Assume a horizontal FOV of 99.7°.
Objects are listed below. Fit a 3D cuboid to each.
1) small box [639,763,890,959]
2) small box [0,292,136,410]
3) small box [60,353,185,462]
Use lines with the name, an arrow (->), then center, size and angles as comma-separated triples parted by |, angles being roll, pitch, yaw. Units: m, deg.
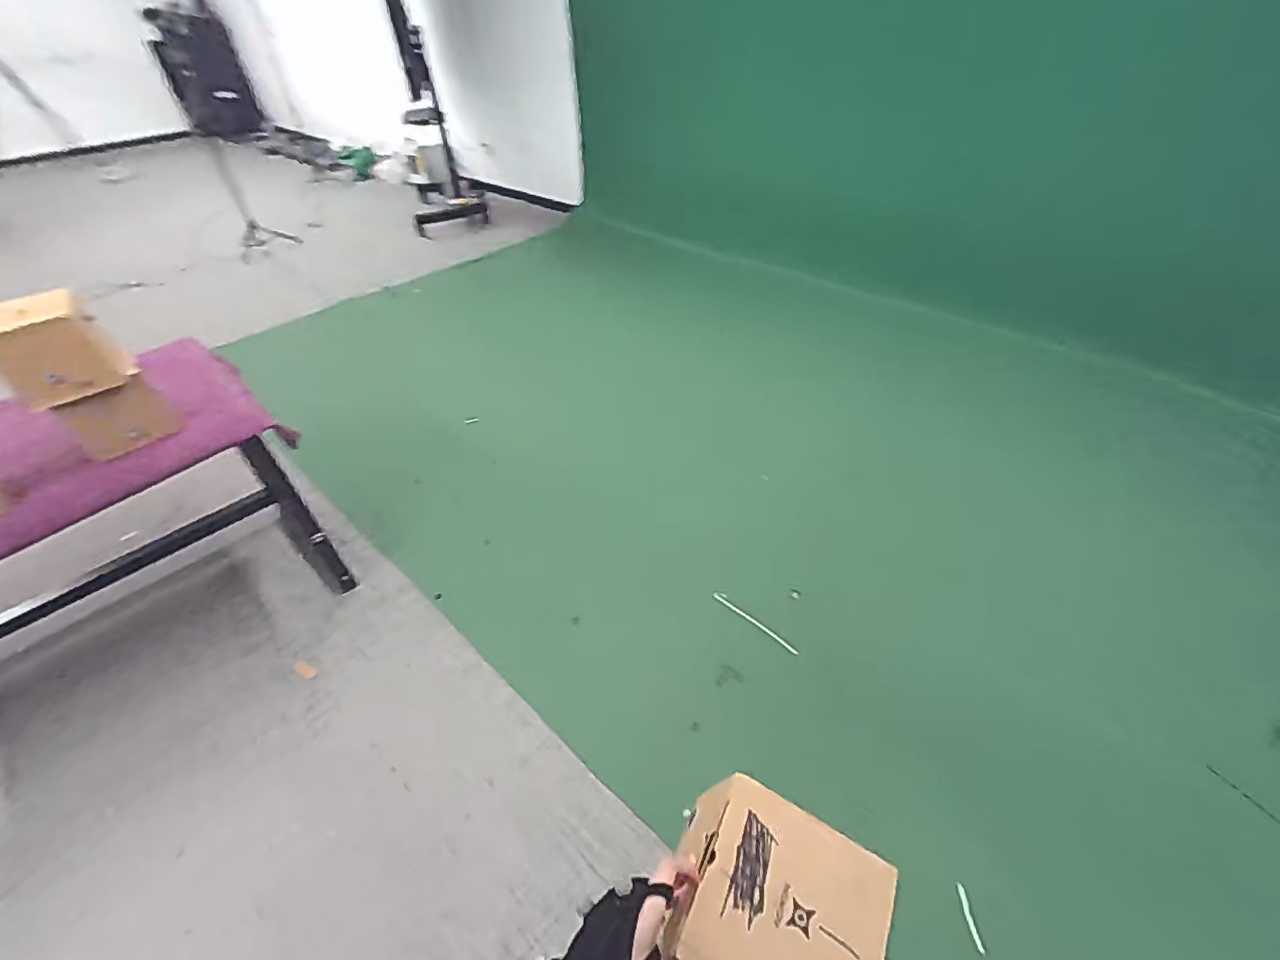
small box -> 0.116, 0.428, 0.548 | 0.179, 0.176, 0.168 | 28, 51, 10
small box -> -1.241, -0.278, 1.166 | 0.168, 0.176, 0.179 | -30, 49, -26
small box -> -1.237, -0.173, 1.293 | 0.168, 0.176, 0.179 | 30, 52, 33
